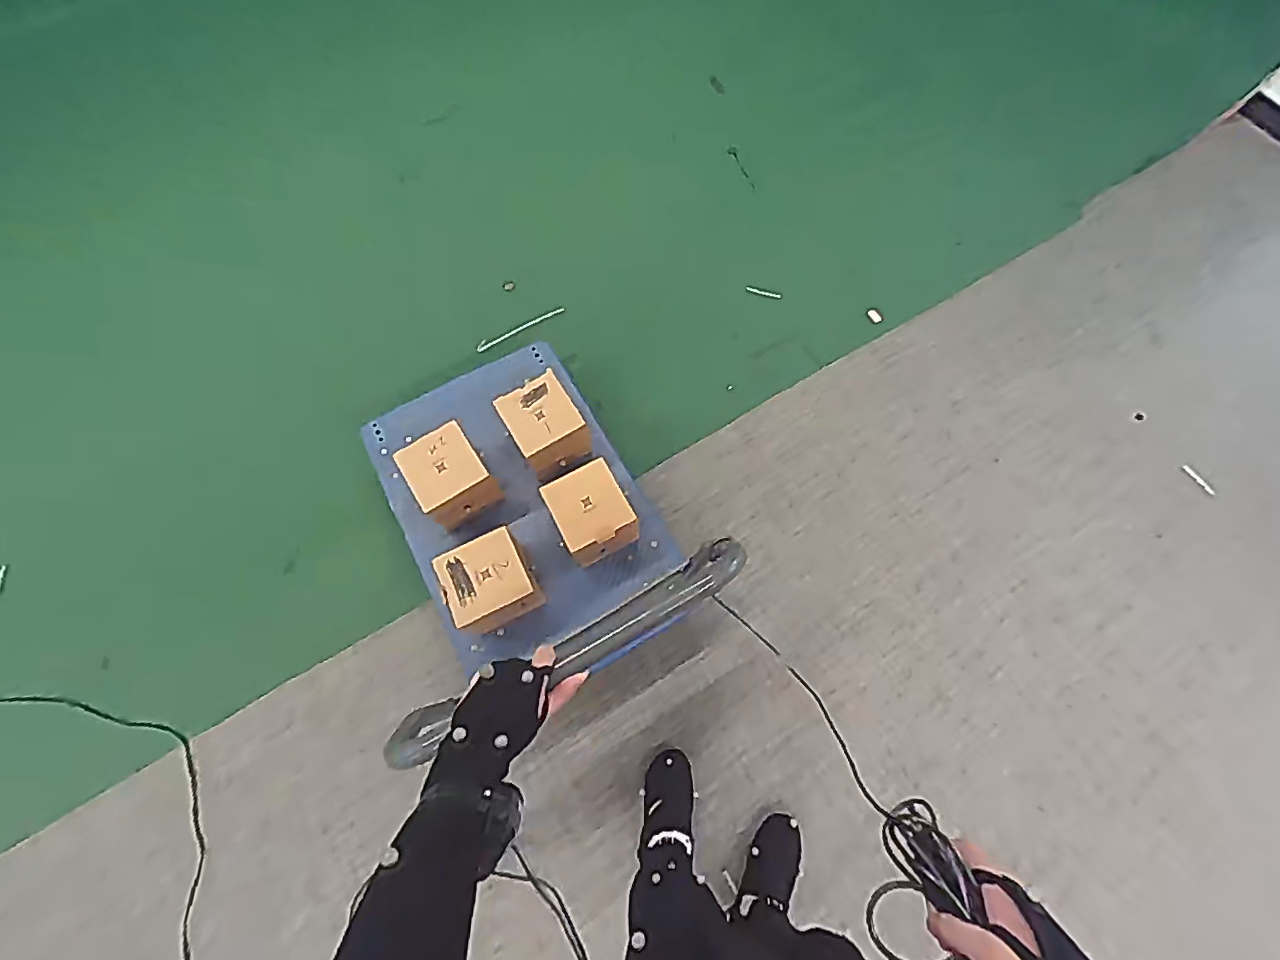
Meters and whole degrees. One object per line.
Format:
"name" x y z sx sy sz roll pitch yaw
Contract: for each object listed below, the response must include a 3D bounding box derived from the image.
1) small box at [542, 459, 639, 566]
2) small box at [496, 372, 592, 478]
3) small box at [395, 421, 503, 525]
"small box" -0.114 0.083 1.283 0.168 0.176 0.179 -27 74 -9
"small box" -0.235 -0.133 1.359 0.168 0.176 0.179 -30 74 -10
"small box" -0.455 -0.006 1.314 0.168 0.176 0.179 -31 73 -11
